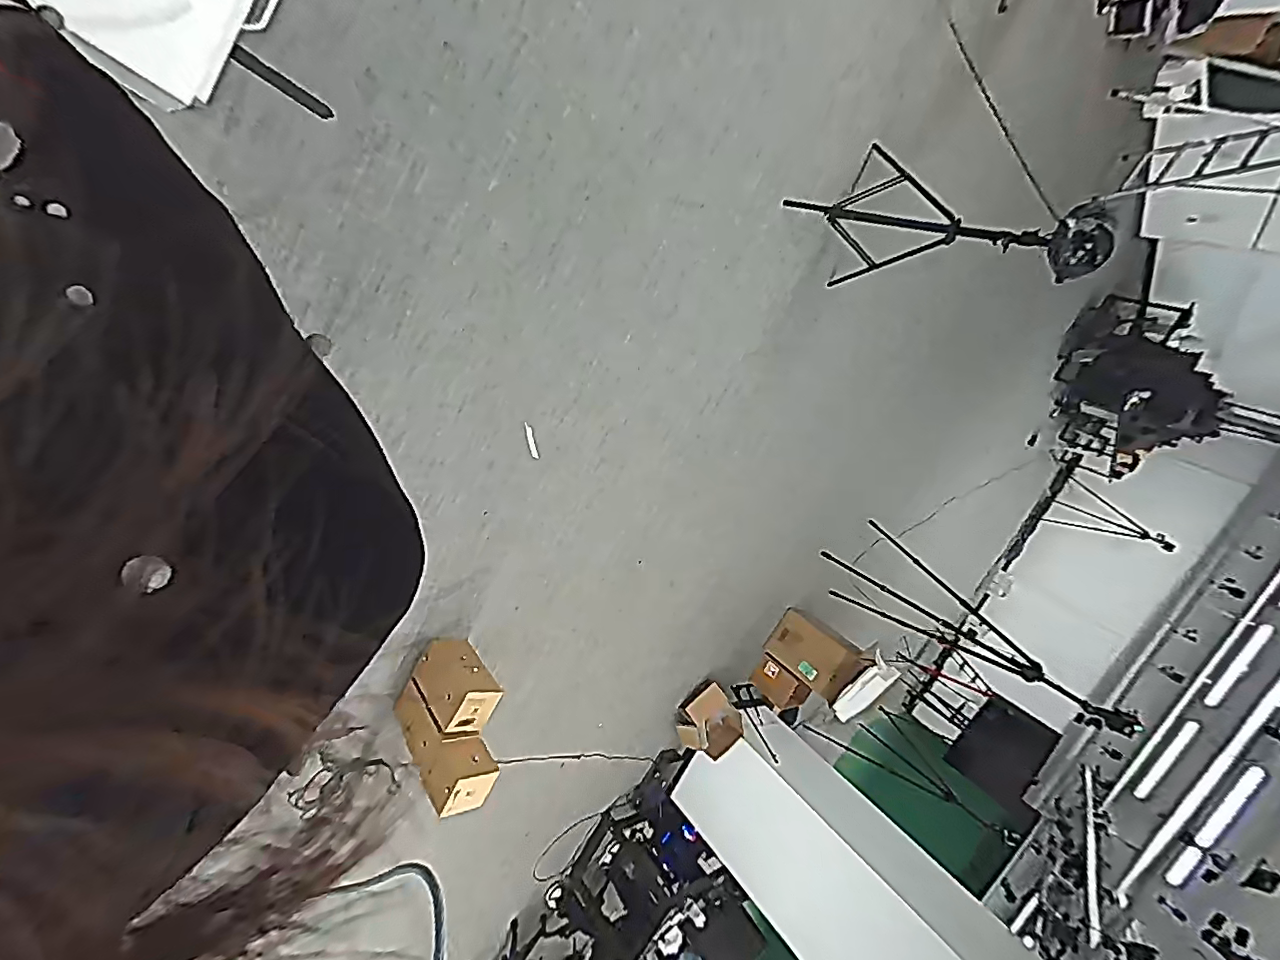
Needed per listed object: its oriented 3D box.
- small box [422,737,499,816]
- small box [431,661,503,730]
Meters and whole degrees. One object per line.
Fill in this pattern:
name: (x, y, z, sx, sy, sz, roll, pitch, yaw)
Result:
small box: (-0.647, 1.055, 1.944, 0.179, 0.176, 0.168, 19, 102, -50)
small box: (-0.654, 0.803, 2.019, 0.168, 0.176, 0.179, 28, 94, -50)
